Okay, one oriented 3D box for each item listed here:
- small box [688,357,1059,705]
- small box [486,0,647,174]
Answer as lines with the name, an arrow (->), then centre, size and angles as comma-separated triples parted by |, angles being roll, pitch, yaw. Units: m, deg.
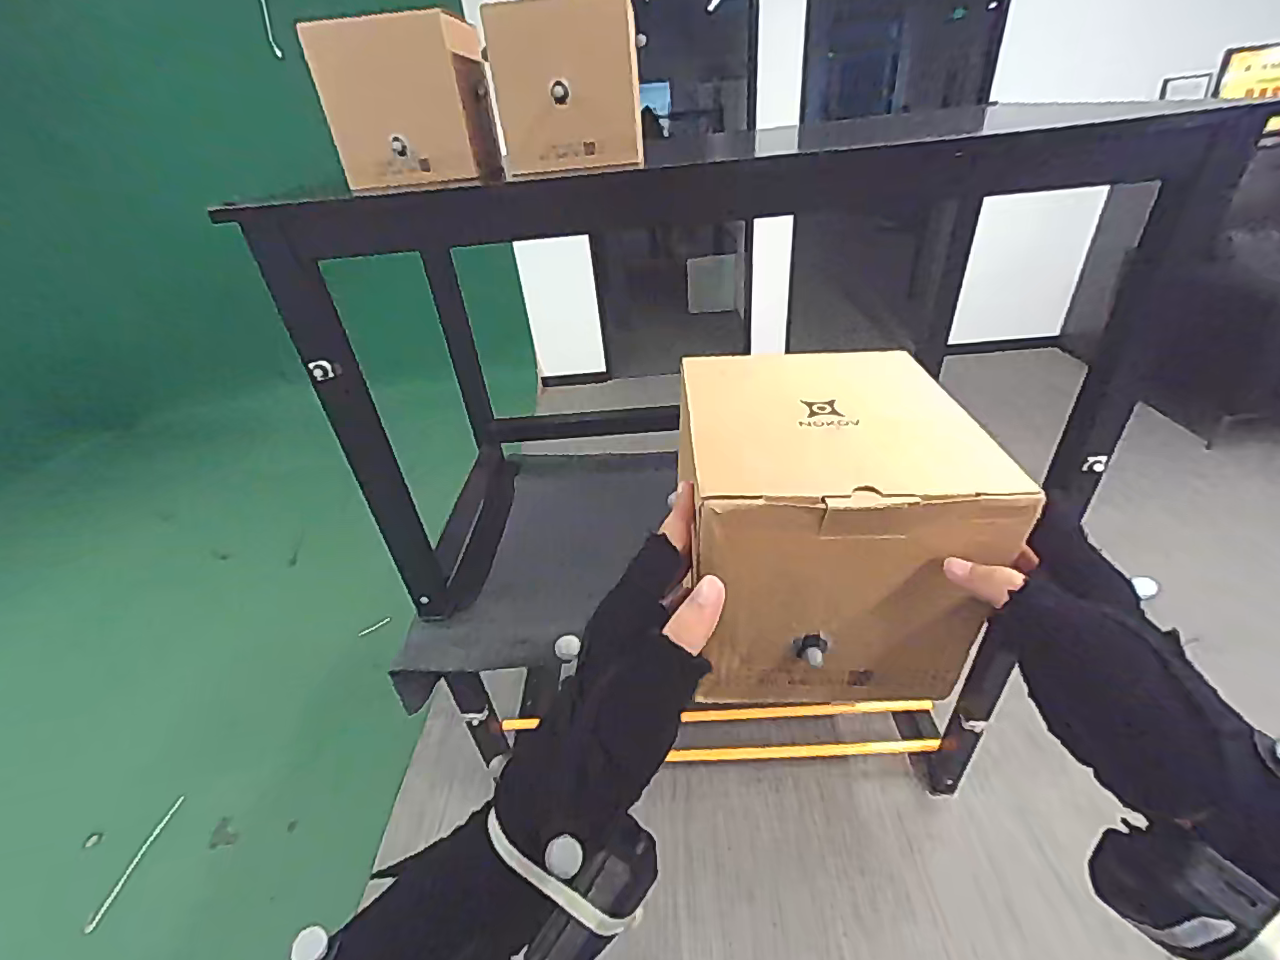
small box -> 0.121, 0.027, 0.371 | 0.168, 0.176, 0.179 | -1, 36, 2
small box -> -0.078, -0.497, 0.693 | 0.168, 0.176, 0.179 | -3, 34, 4
